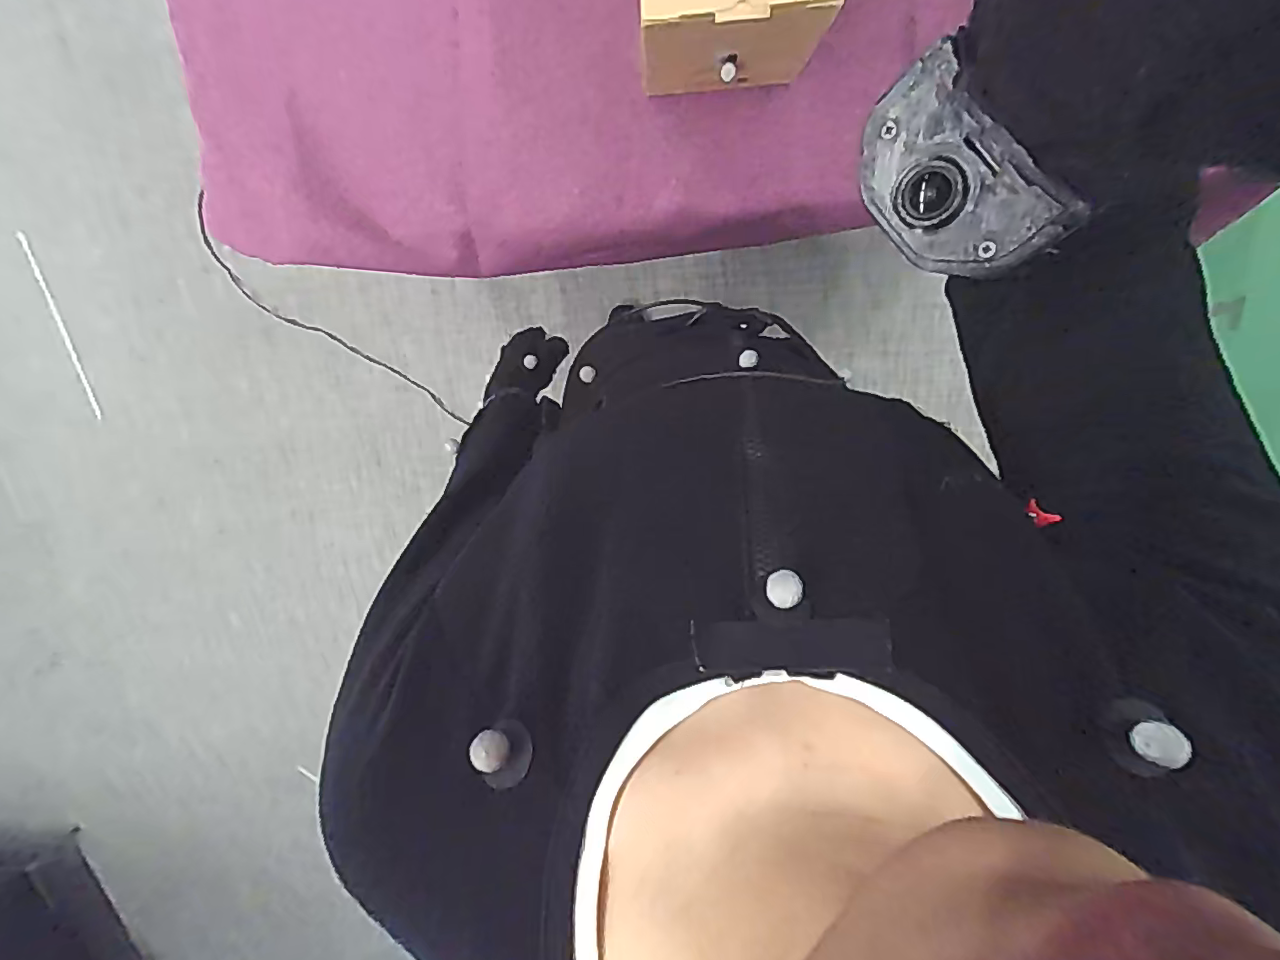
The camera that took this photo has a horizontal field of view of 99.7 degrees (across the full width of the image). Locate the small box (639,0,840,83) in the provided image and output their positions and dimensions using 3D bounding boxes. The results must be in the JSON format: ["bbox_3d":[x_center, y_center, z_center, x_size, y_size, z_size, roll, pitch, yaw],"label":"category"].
[{"bbox_3d":[0.081,-0.485,0.485,0.168,0.176,0.179,-3,109,3],"label":"small box"}]
